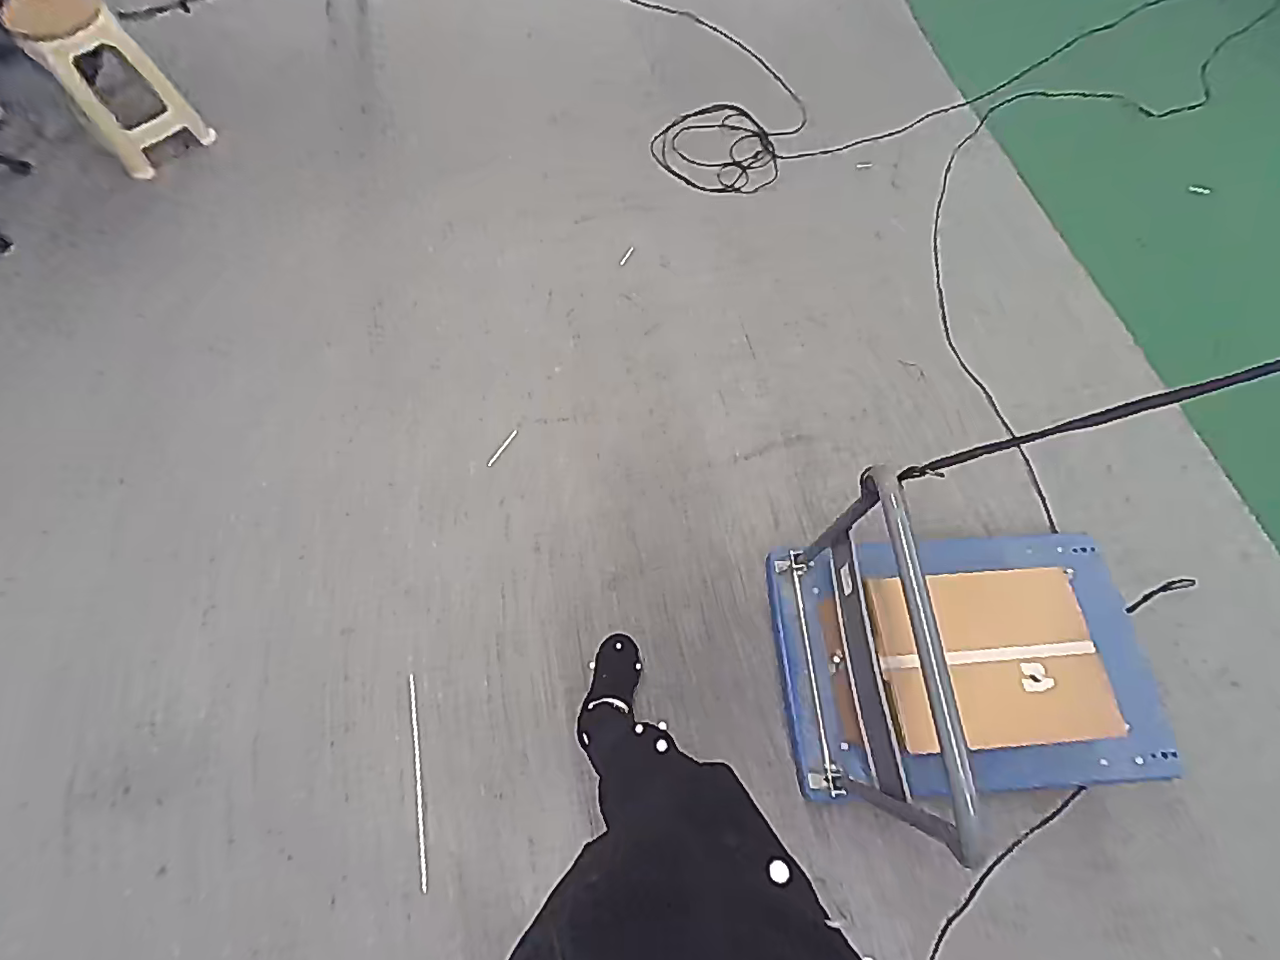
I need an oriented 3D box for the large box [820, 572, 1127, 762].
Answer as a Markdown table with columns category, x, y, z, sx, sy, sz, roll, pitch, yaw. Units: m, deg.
| category | x | y | z | sx | sy | sz | roll | pitch | yaw |
| --- | --- | --- | --- | --- | --- | --- | --- | --- | --- |
| large box | 0.649 | 0.394 | 1.138 | 0.408 | 0.320 | 0.320 | -3 | 67 | -3 |
